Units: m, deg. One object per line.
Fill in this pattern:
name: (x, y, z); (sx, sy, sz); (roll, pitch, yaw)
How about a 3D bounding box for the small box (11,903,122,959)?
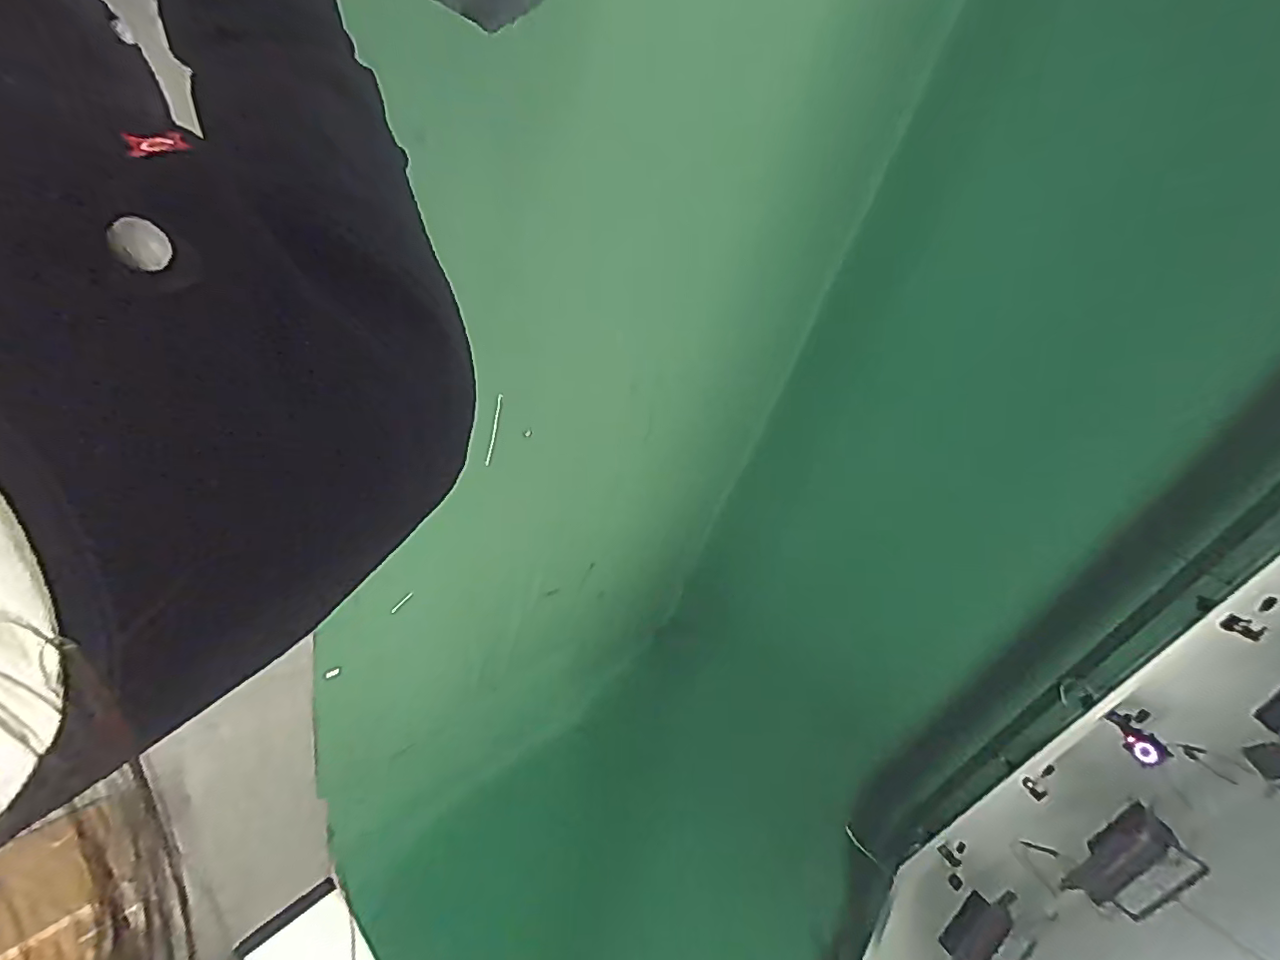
small box: (-1.562, 1.320, 1.479); (0.179, 0.176, 0.168); (-19, 136, -44)
